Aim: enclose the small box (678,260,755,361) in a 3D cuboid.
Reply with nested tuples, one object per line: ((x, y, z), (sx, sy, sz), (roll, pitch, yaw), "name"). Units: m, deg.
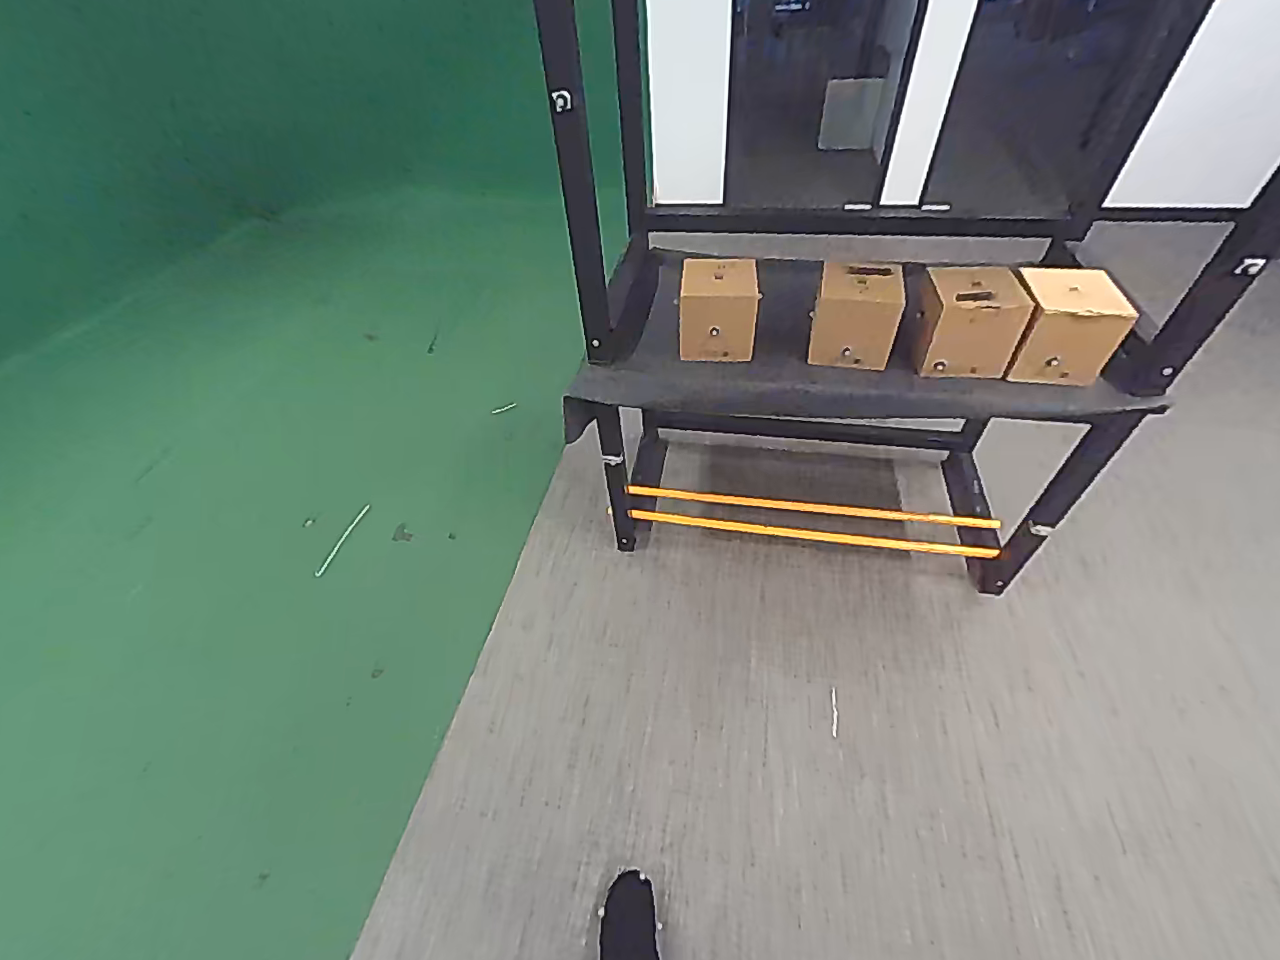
((0.177, -0.392, 1.256), (0.168, 0.176, 0.179), (3, 46, 6), "small box")
